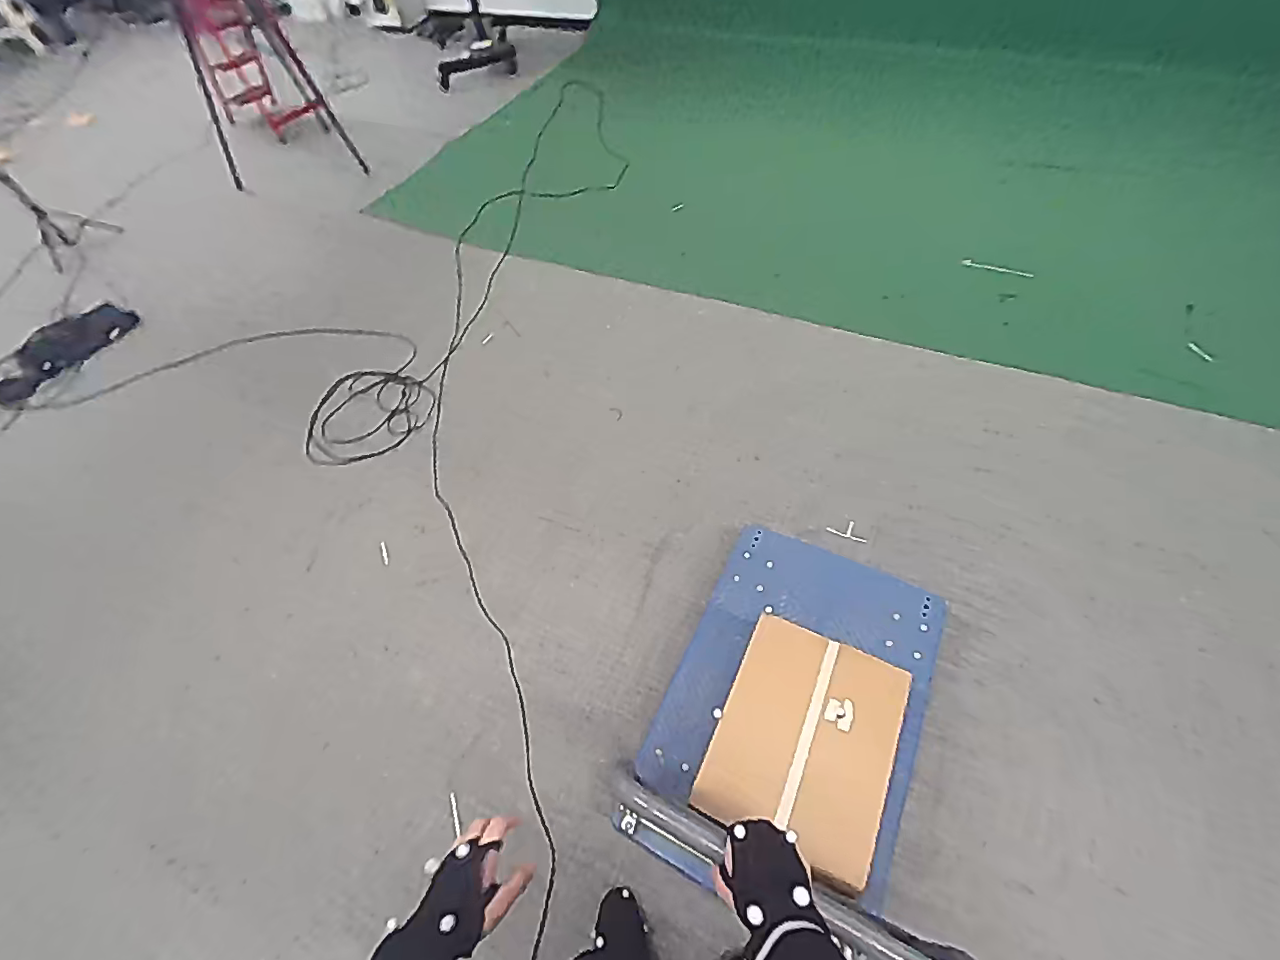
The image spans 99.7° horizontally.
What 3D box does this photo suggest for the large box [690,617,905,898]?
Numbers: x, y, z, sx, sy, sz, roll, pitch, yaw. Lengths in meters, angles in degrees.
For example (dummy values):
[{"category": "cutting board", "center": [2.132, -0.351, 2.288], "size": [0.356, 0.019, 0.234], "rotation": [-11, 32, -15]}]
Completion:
[{"category": "large box", "center": [0.319, 0.579, 1.144], "size": [0.320, 0.320, 0.408], "rotation": [21, 58, 17]}]
